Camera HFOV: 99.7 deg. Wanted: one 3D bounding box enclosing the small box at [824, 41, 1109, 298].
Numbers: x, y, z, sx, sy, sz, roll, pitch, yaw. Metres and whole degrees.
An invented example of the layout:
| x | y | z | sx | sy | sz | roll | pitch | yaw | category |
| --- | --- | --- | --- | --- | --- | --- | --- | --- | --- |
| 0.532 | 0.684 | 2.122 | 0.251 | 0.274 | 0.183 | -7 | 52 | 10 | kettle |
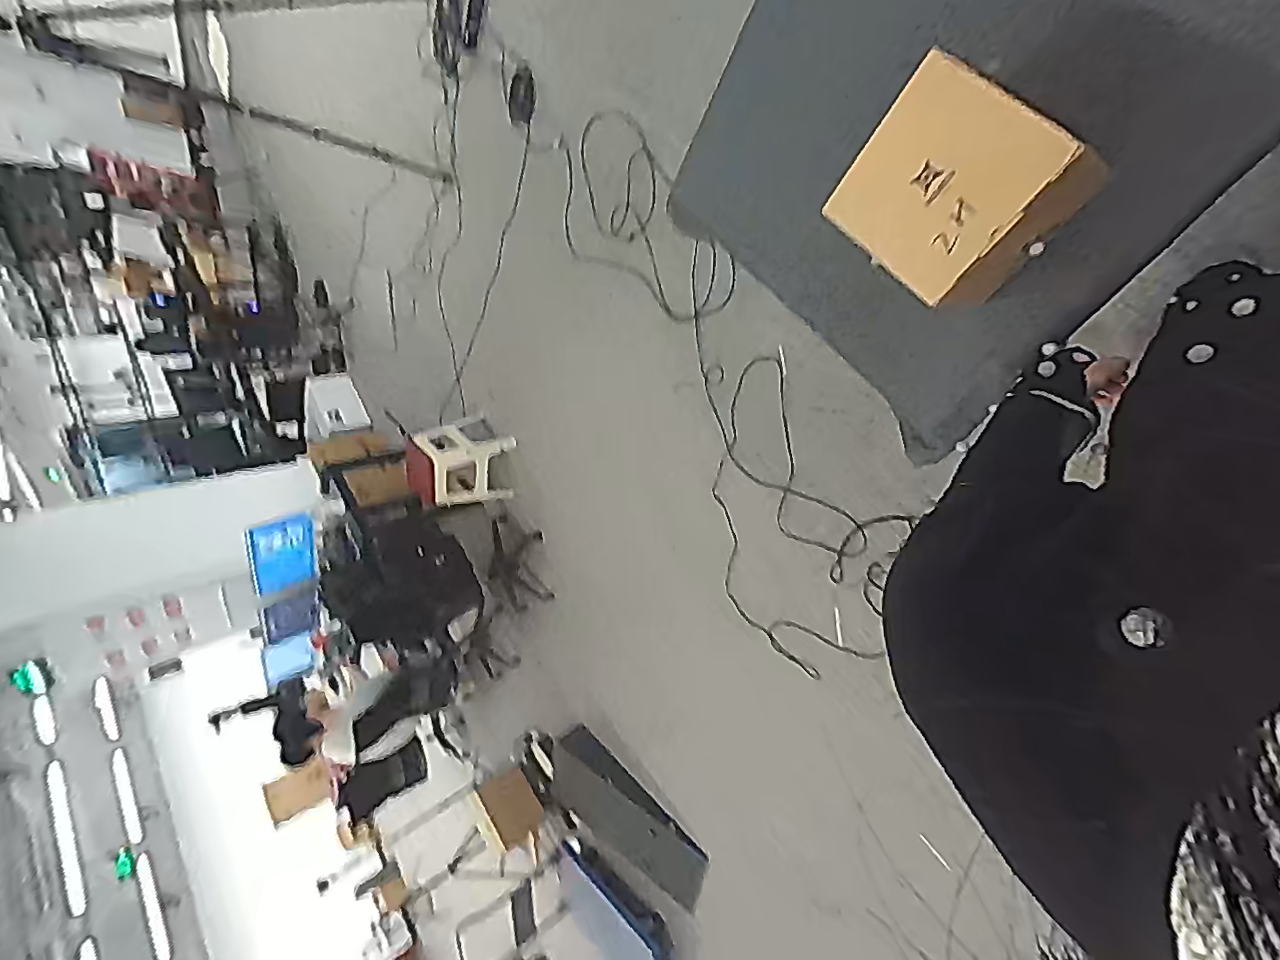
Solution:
| x | y | z | sx | sy | sz | roll | pitch | yaw | category |
| --- | --- | --- | --- | --- | --- | --- | --- | --- | --- |
| 0.343 | -0.312 | 0.577 | 0.179 | 0.176 | 0.168 | 53 | 135 | 20 | small box |
